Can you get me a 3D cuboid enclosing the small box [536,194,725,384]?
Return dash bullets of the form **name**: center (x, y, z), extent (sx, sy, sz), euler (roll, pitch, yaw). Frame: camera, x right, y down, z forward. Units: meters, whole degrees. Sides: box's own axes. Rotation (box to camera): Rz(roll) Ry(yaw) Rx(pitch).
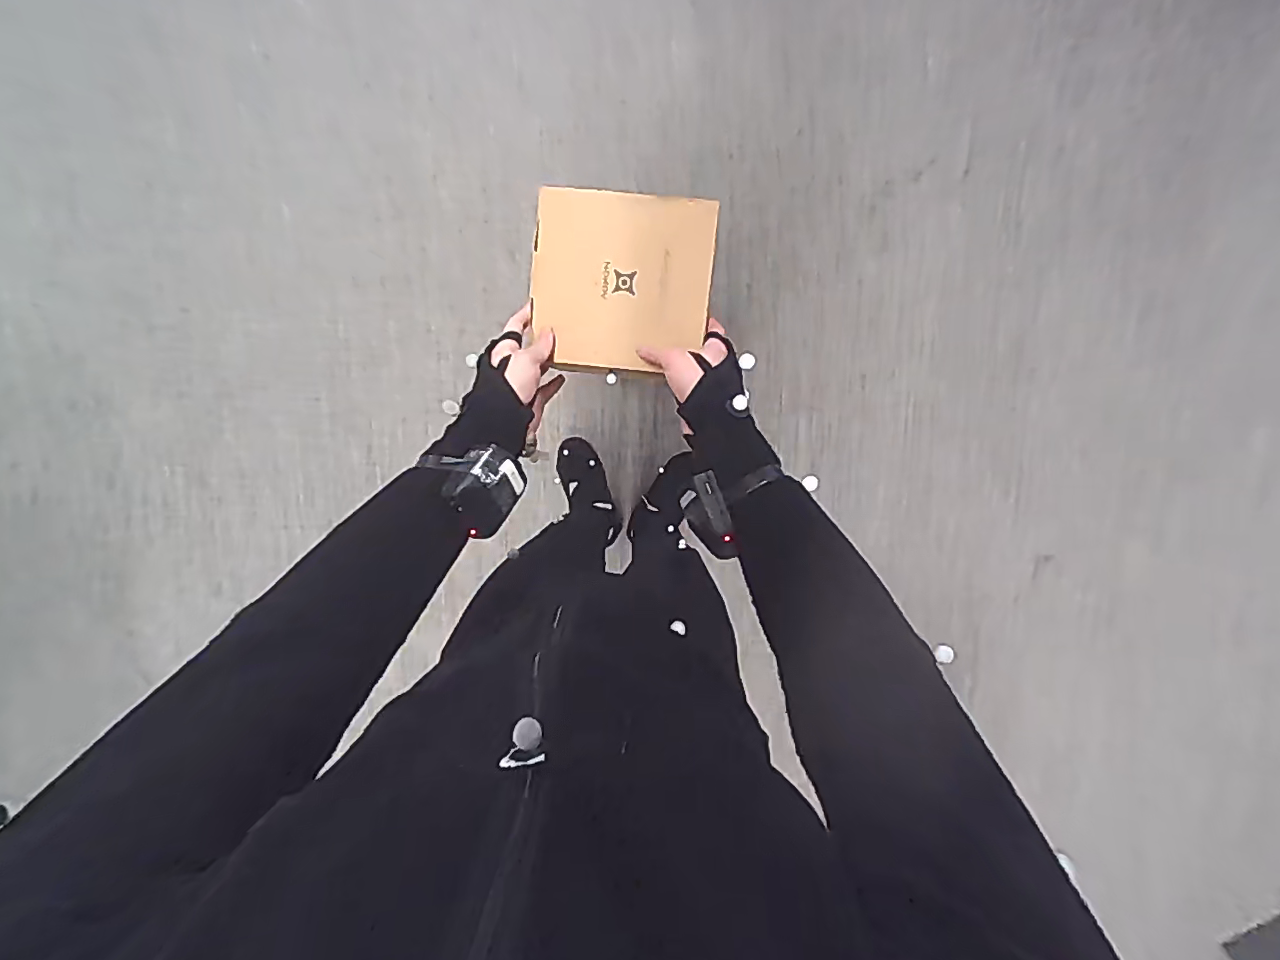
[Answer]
- **small box**: center (-0.009, -0.199, 0.609), extent (0.179, 0.176, 0.168), euler (5, 99, 0)
